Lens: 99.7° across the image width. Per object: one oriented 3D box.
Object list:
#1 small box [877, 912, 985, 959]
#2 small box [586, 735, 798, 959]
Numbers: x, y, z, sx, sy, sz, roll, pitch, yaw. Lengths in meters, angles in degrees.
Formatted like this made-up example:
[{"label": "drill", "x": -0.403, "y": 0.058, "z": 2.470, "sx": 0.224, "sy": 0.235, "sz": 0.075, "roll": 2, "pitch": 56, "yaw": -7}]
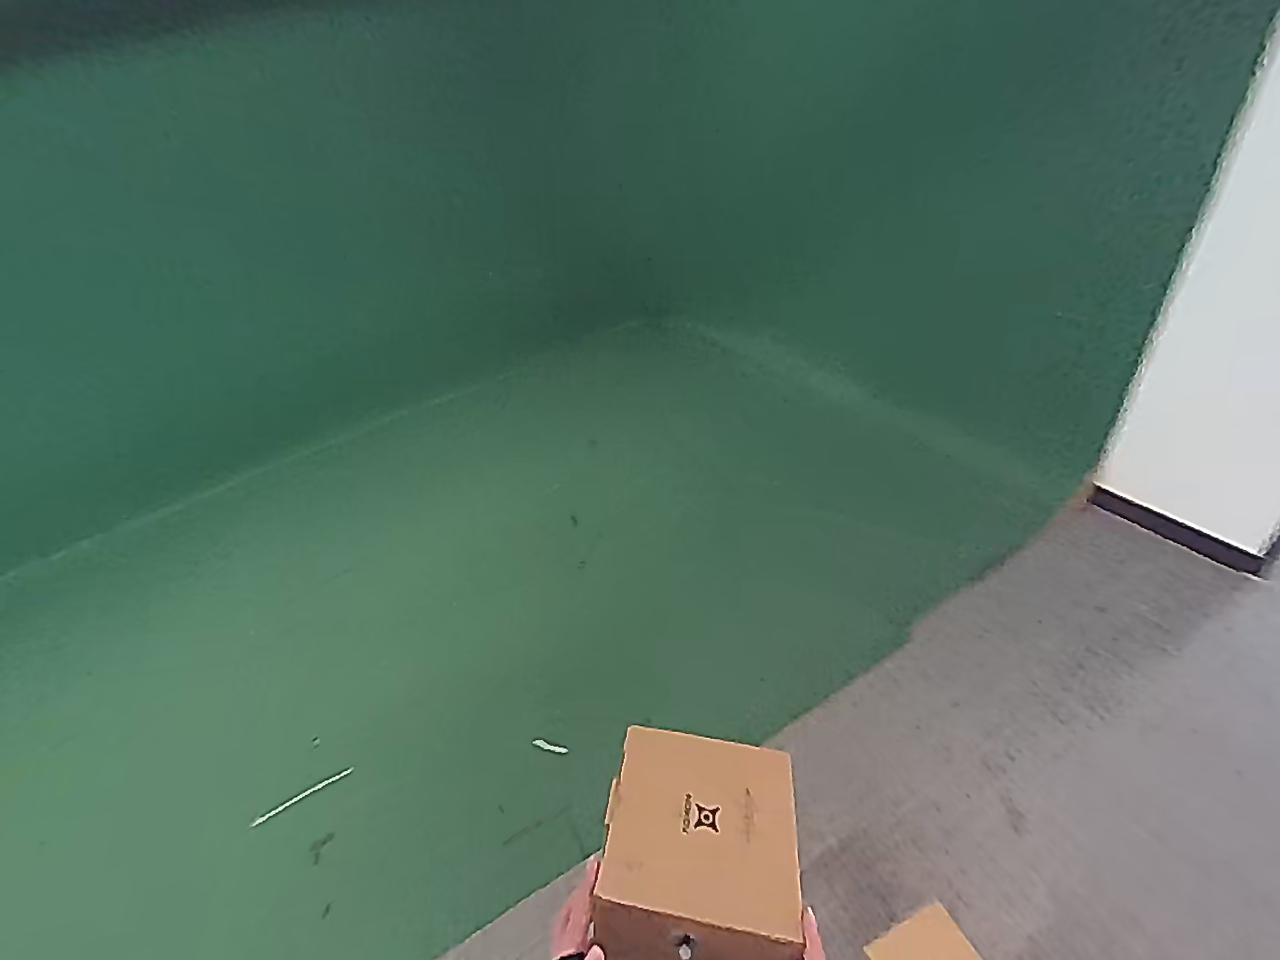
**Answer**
[{"label": "small box", "x": 0.530, "y": 0.909, "z": 0.937, "sx": 0.168, "sy": 0.176, "sz": 0.179, "roll": -24, "pitch": 39, "yaw": -10}, {"label": "small box", "x": 0.051, "y": 0.391, "z": 0.541, "sx": 0.179, "sy": 0.176, "sz": 0.168, "roll": 6, "pitch": 30, "yaw": 7}]
